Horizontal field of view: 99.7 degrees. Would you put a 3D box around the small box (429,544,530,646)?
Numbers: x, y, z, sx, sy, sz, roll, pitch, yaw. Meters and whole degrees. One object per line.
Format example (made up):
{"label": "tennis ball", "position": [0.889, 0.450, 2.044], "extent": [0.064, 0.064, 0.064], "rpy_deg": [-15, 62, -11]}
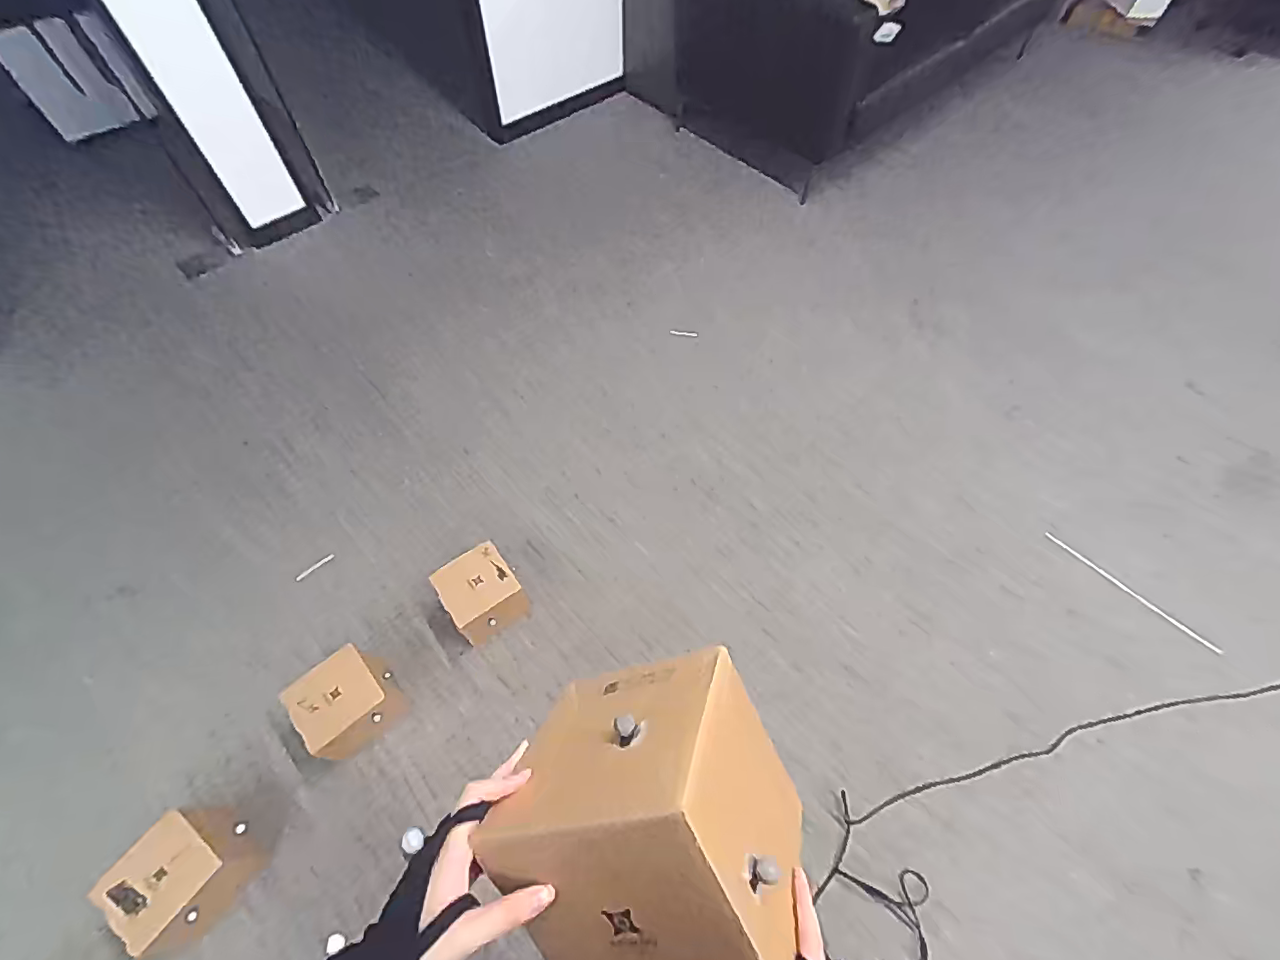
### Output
{"label": "small box", "position": [-0.406, 0.302, 1.397], "extent": [0.179, 0.176, 0.168], "rpy_deg": [-33, 65, -19]}

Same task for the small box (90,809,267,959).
{"label": "small box", "position": [-0.907, 0.795, 1.082], "extent": [0.168, 0.176, 0.179], "rpy_deg": [32, 62, 16]}

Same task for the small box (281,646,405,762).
{"label": "small box", "position": [-0.674, 0.522, 1.255], "extent": [0.179, 0.176, 0.168], "rpy_deg": [-37, 66, -22]}
